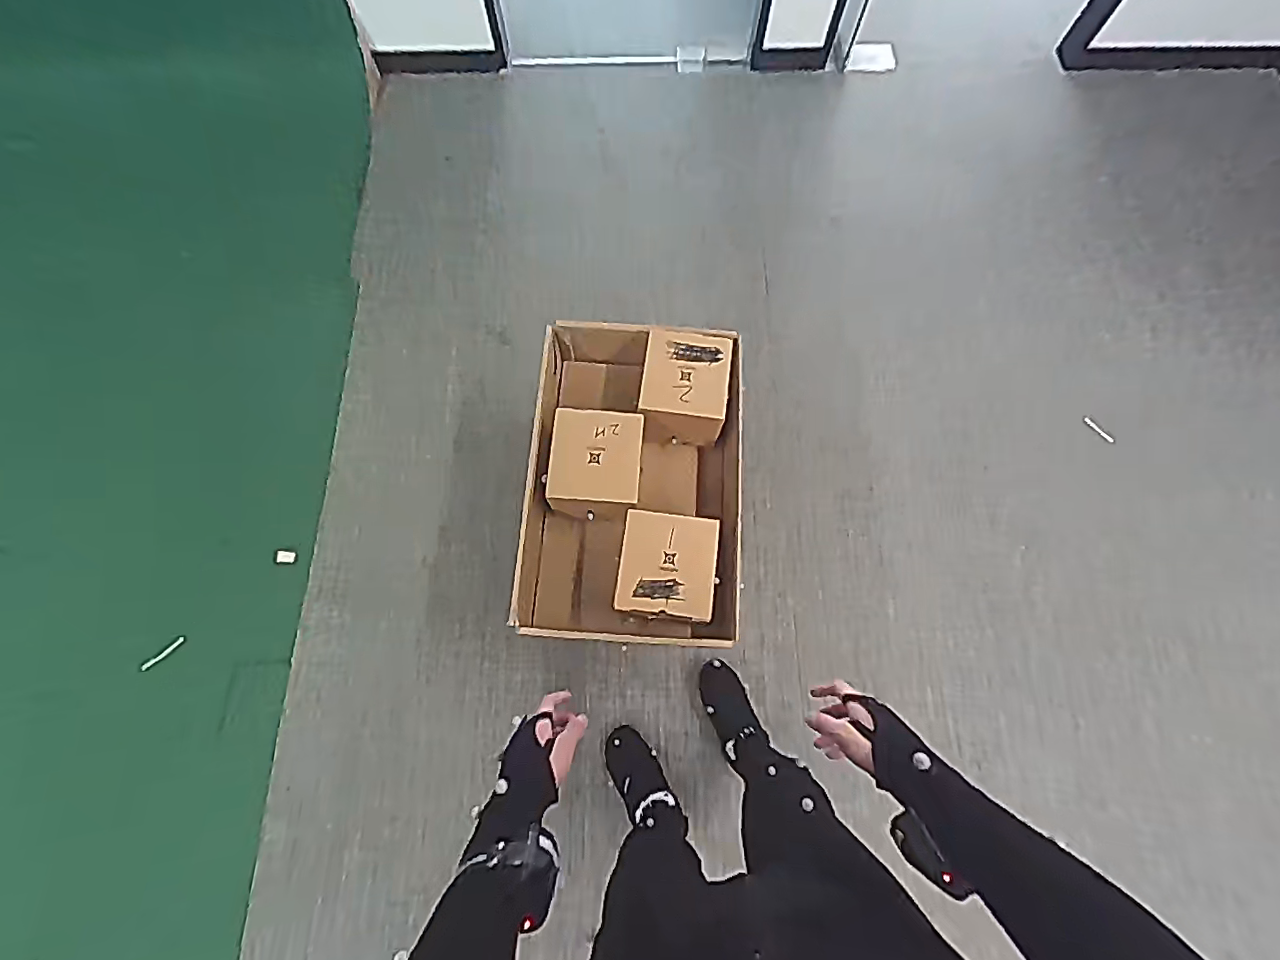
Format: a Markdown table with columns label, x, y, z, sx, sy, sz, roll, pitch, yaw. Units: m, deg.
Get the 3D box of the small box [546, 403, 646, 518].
| label | x | y | z | sx | sy | sz | roll | pitch | yaw |
| --- | --- | --- | --- | --- | --- | --- | --- | --- | --- |
| small box | -0.079 | -0.029 | 1.045 | 0.168 | 0.176 | 0.179 | 5 | 74 | 0 |
